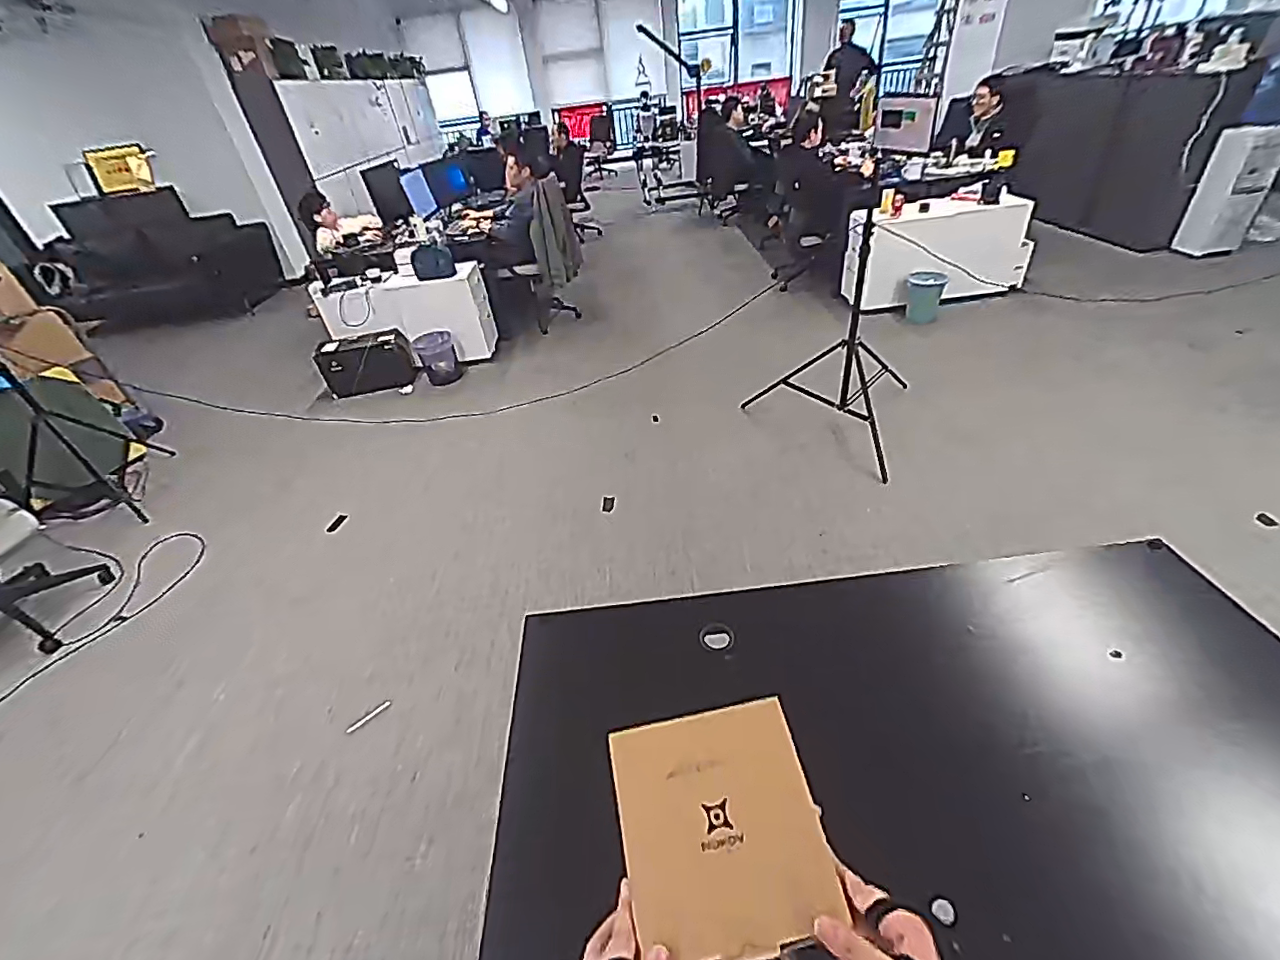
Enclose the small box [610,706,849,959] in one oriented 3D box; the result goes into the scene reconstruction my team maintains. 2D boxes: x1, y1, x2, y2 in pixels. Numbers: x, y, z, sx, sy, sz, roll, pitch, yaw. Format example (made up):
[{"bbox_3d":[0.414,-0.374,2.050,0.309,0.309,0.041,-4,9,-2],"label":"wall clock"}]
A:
[{"bbox_3d":[0.071,0.343,0.516,0.168,0.176,0.179,-11,50,-4],"label":"small box"}]
